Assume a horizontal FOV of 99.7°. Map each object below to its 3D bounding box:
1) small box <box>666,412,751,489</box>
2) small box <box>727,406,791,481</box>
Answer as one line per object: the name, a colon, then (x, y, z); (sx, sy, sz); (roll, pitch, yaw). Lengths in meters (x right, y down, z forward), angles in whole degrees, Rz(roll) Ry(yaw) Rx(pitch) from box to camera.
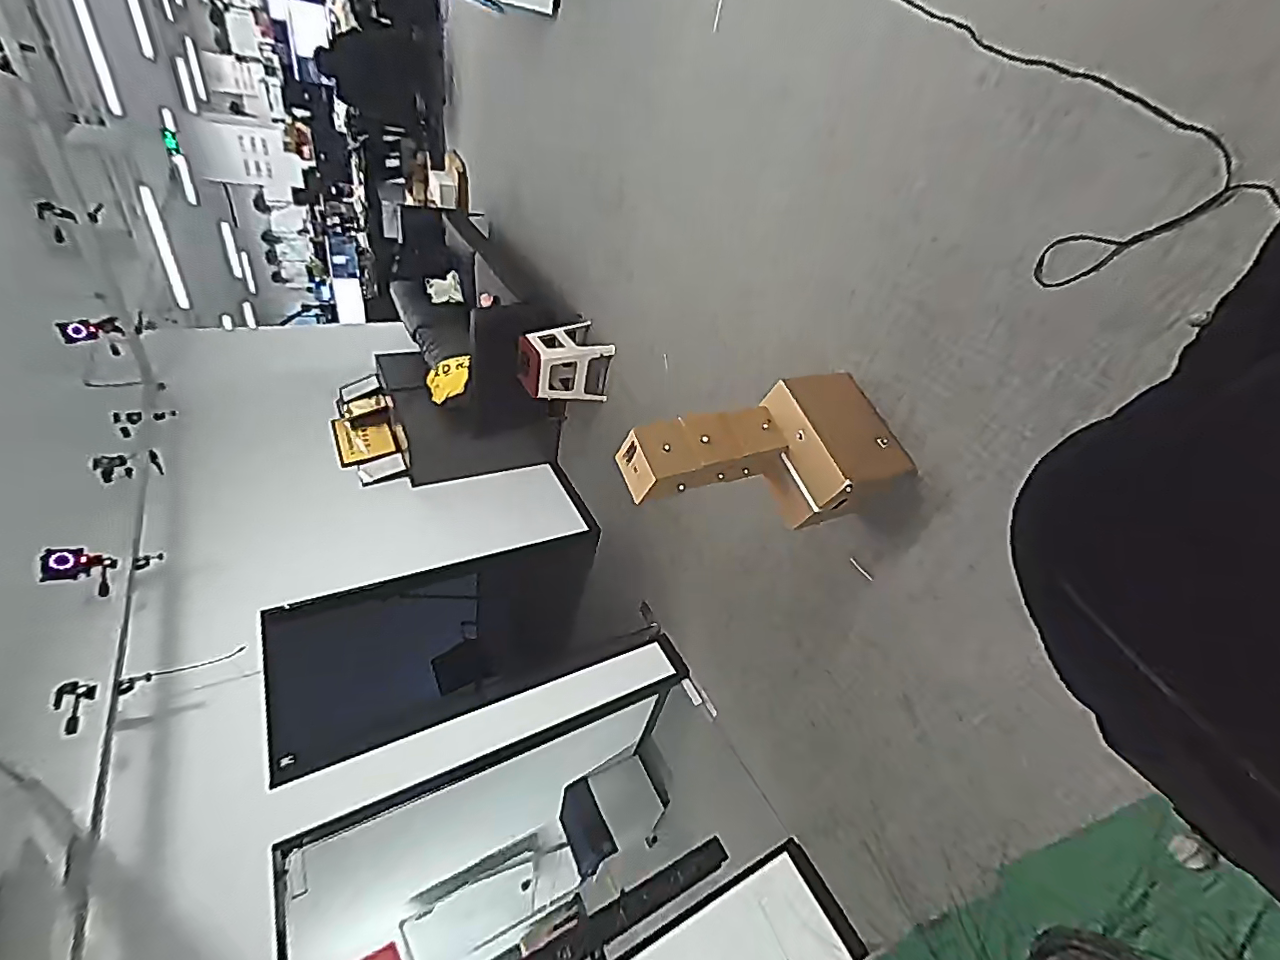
small box: (0.213, -0.097, 1.688); (0.179, 0.176, 0.168); (66, 151, 21)
small box: (0.357, -0.120, 1.759); (0.168, 0.176, 0.179); (66, 150, 22)
